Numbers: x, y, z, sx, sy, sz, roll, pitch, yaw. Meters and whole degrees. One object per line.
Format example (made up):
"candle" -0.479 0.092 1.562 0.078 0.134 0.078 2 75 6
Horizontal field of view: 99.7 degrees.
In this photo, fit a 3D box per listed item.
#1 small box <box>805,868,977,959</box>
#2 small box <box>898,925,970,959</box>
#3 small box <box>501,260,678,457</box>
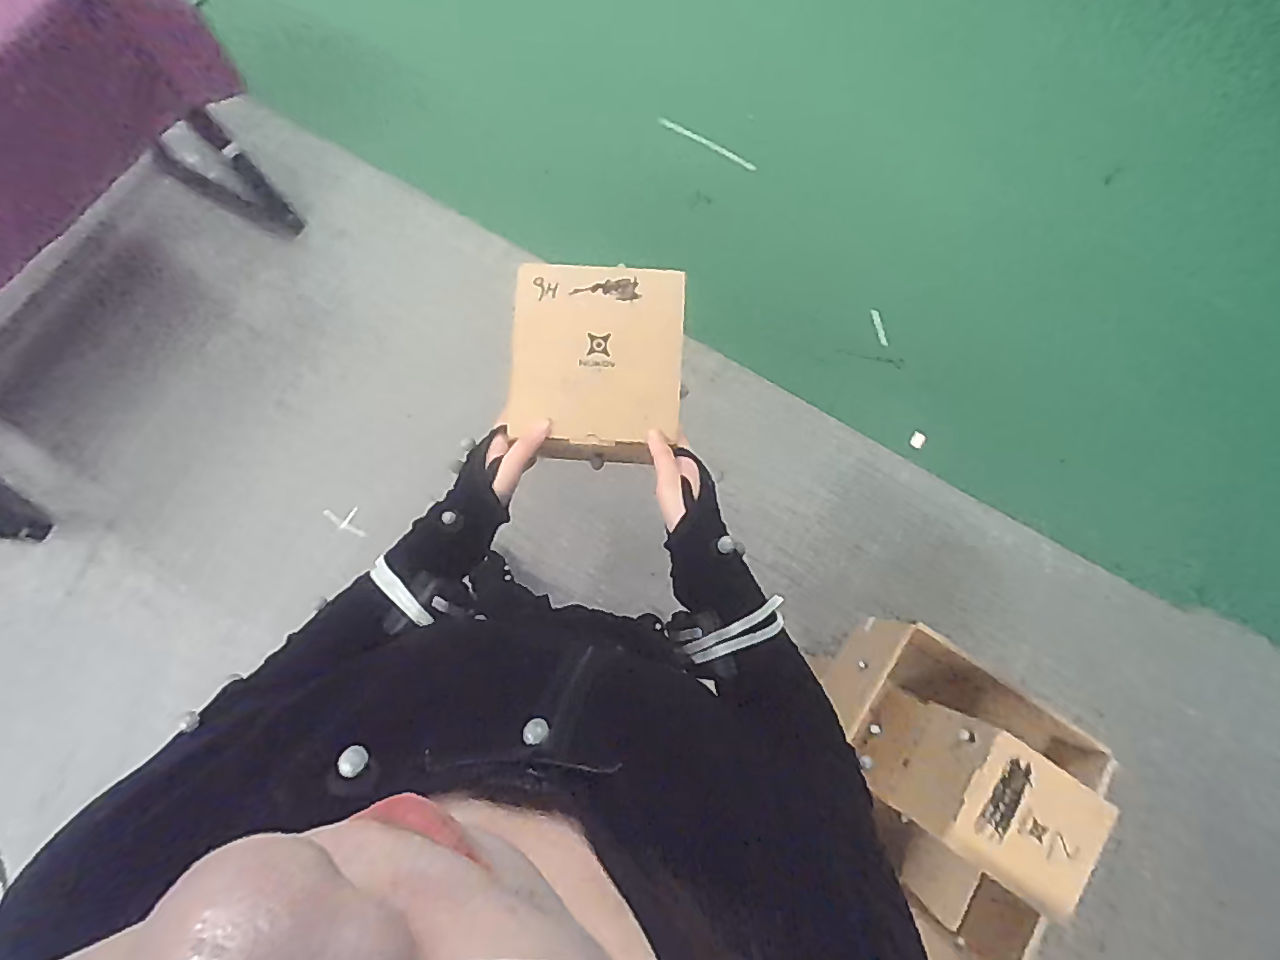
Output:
"small box" 0.352 0.669 0.714 0.179 0.176 0.168 37 79 8
"small box" 0.351 0.631 0.554 0.168 0.176 0.179 39 79 7
"small box" -0.047 -0.120 0.600 0.168 0.176 0.179 3 87 1
